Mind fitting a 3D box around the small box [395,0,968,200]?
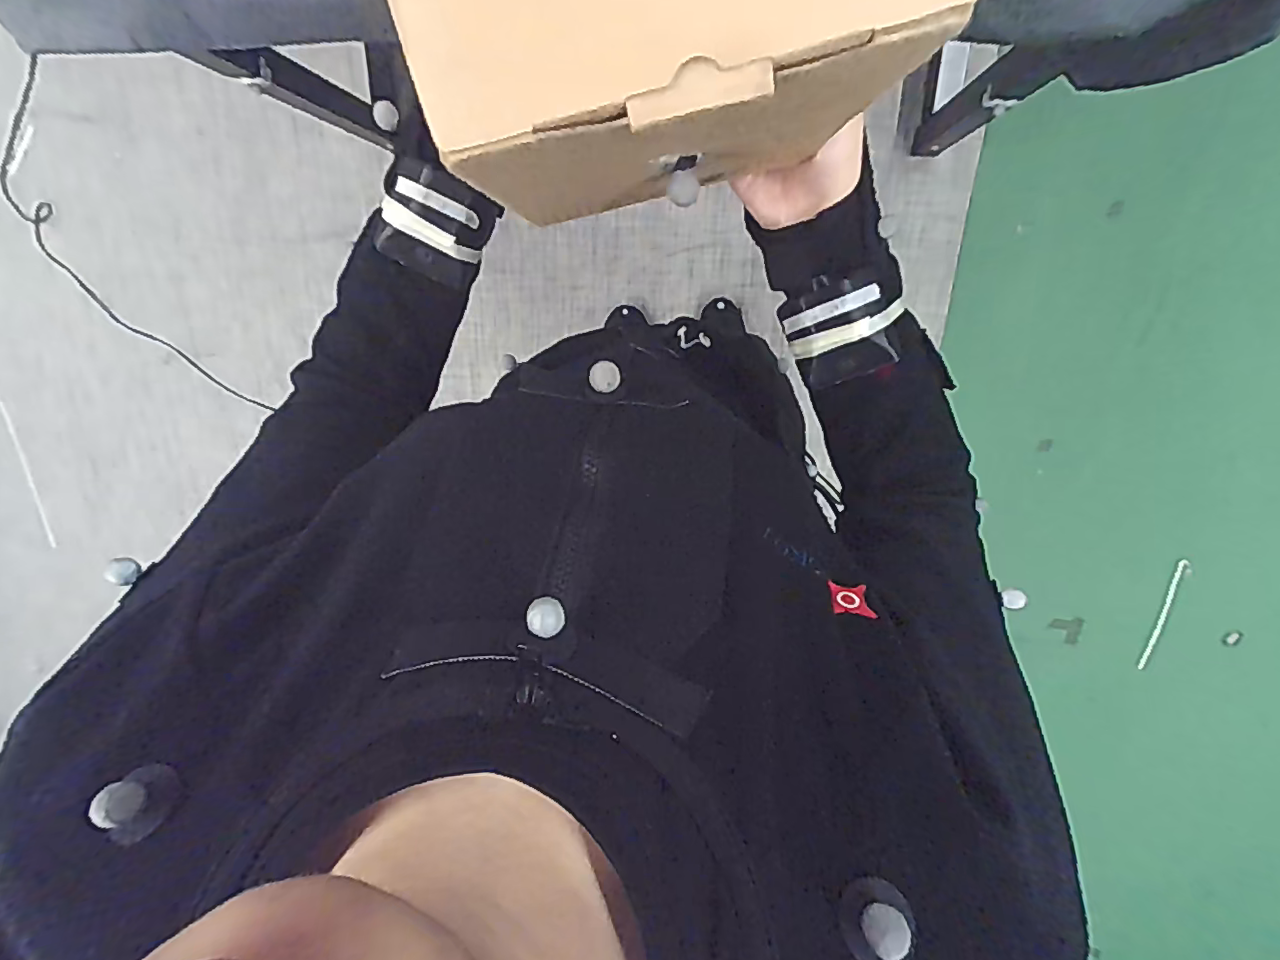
[{"bbox_3d":[0.000,-0.223,0.210,0.168,0.176,0.179,-12,109,5],"label":"small box"}]
